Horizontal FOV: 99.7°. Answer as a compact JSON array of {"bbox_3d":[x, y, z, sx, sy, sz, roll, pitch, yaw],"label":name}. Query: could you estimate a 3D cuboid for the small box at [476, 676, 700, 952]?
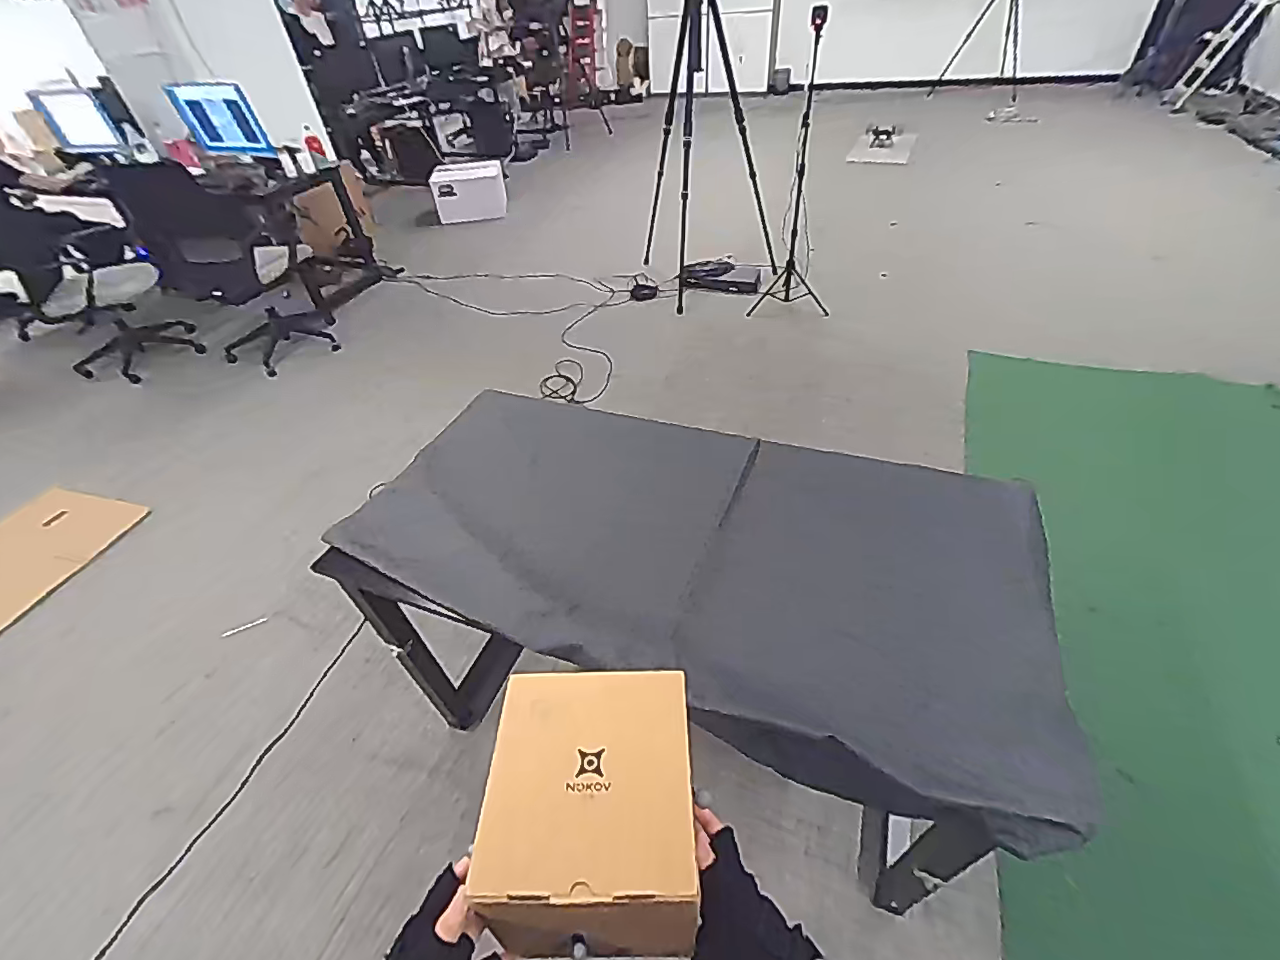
[{"bbox_3d":[-0.035,0.306,0.503,0.168,0.176,0.179,-2,40,2],"label":"small box"}]
